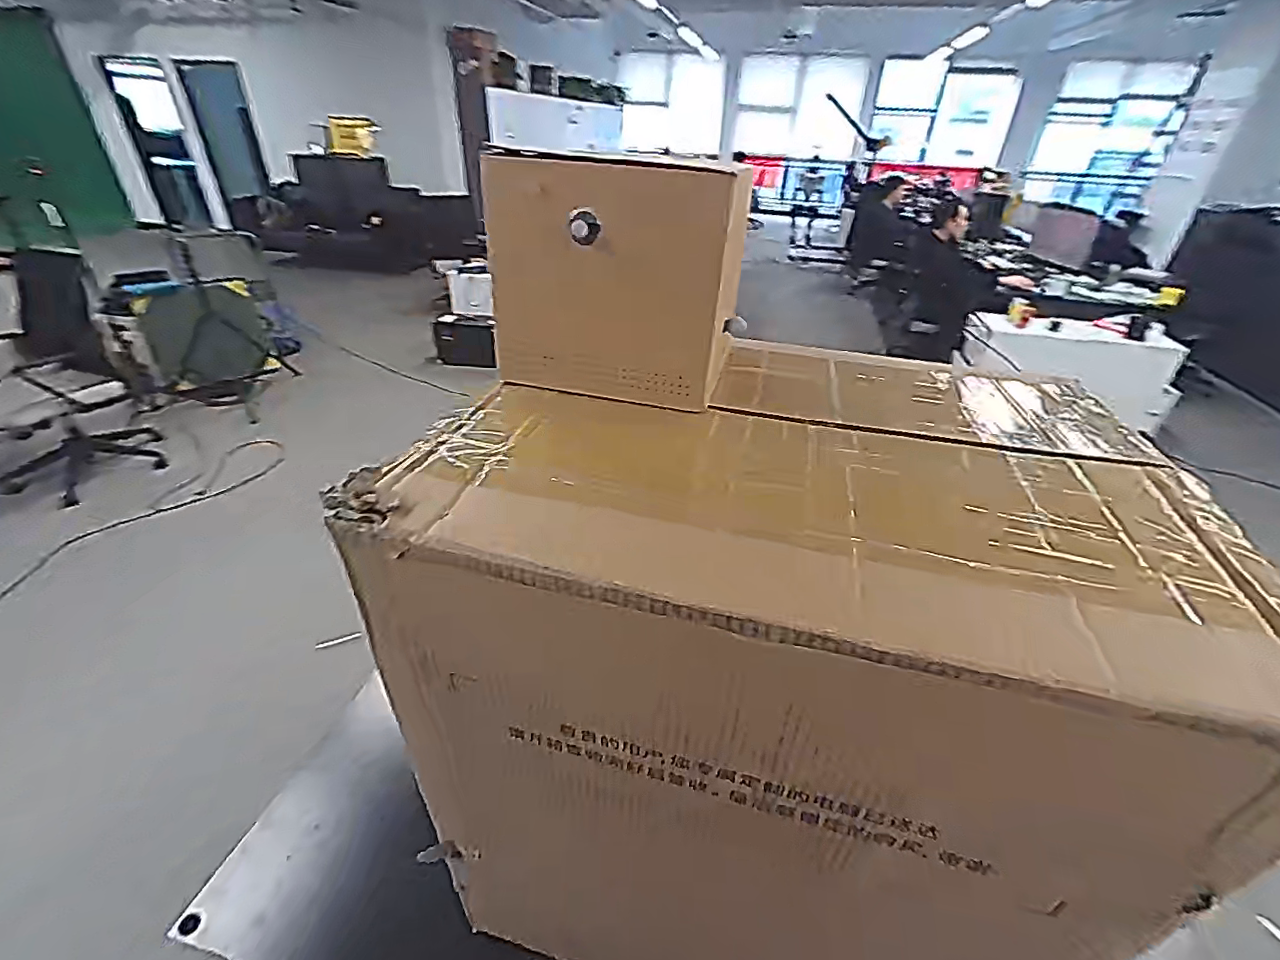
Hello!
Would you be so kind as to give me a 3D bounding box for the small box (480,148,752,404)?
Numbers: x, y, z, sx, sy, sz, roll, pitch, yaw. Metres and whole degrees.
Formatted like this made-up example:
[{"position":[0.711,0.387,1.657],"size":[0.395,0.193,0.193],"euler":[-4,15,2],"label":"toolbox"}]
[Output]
[{"position":[-0.011,-0.176,0.457],"size":[0.179,0.176,0.168],"euler":[11,32,10],"label":"small box"}]
